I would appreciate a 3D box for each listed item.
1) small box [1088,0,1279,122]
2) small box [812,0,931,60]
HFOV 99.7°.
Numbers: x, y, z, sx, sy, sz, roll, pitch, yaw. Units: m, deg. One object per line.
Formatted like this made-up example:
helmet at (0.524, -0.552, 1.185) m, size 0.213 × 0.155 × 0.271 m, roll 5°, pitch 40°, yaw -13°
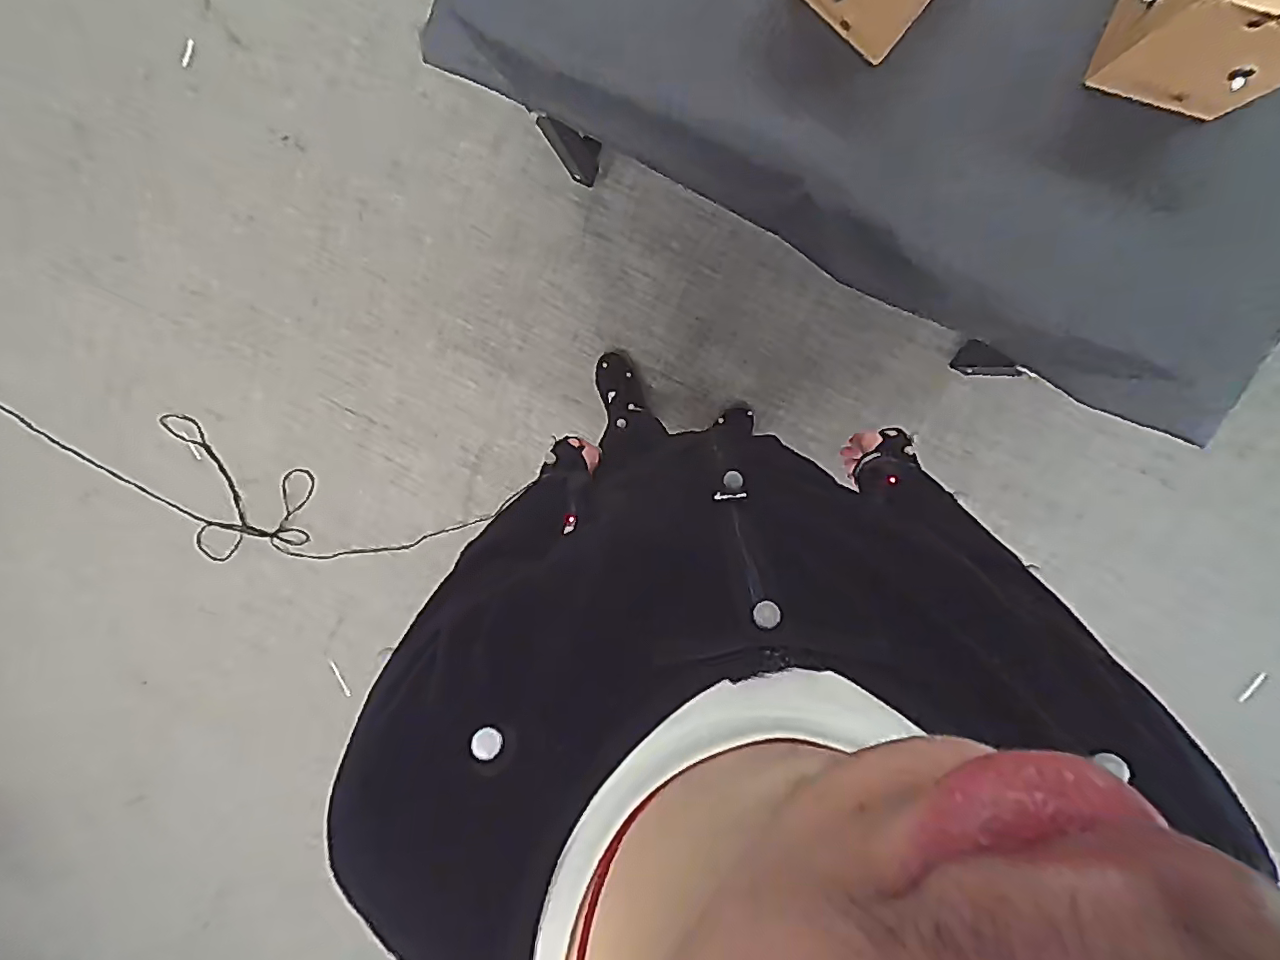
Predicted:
small box at (0.649, -0.534, 0.588) m, size 0.168 × 0.176 × 0.179 m, roll 18°, pitch 101°, yaw 0°
small box at (0.290, -0.632, 0.599) m, size 0.168 × 0.176 × 0.179 m, roll 40°, pitch 102°, yaw -4°
